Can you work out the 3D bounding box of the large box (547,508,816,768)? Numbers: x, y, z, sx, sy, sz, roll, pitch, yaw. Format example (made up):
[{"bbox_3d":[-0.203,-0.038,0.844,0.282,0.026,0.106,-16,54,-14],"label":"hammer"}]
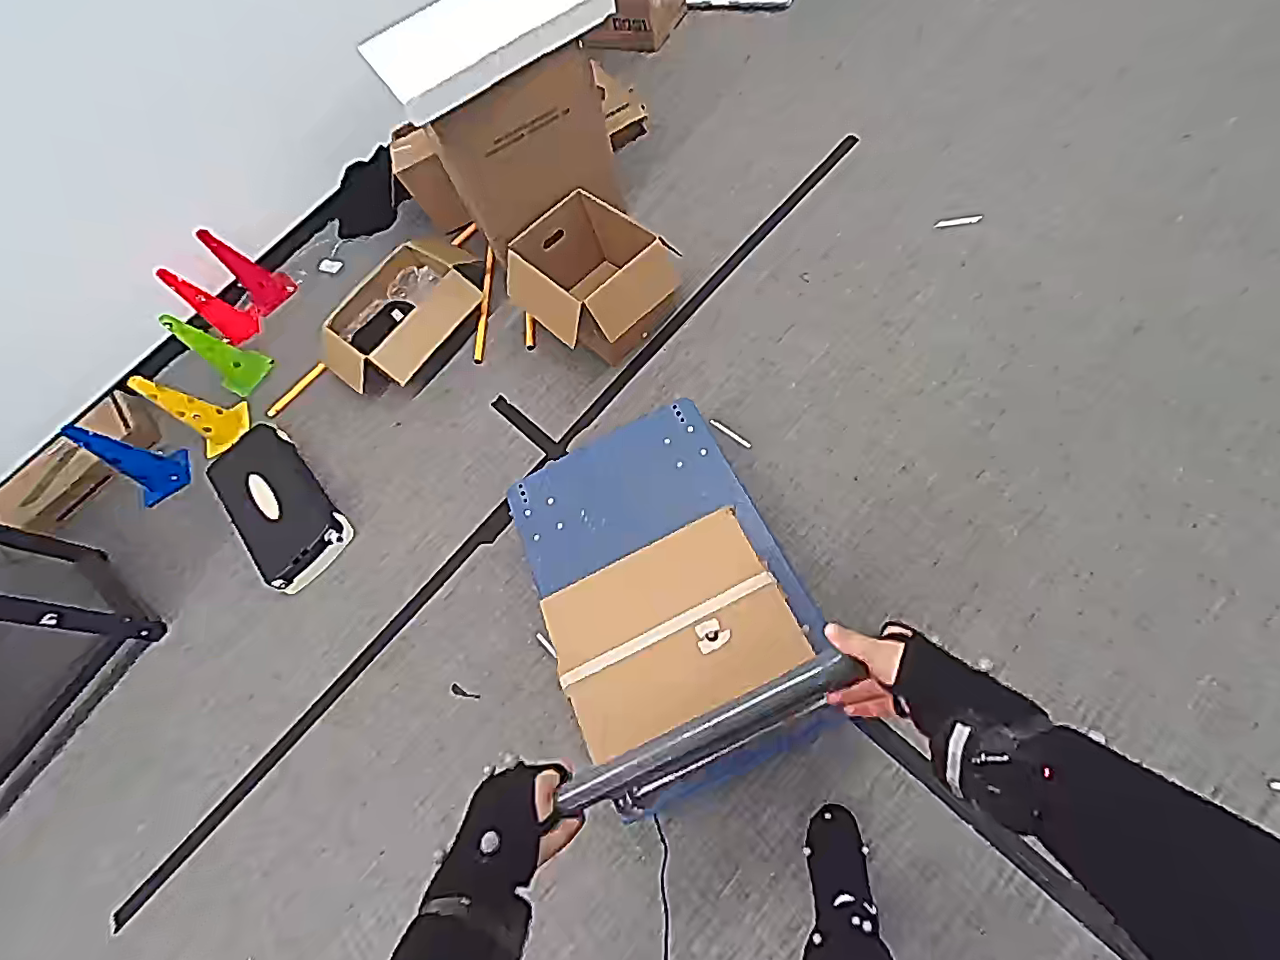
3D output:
[{"bbox_3d":[0.089,0.326,1.080,0.408,0.320,0.320,-27,61,1],"label":"large box"}]
